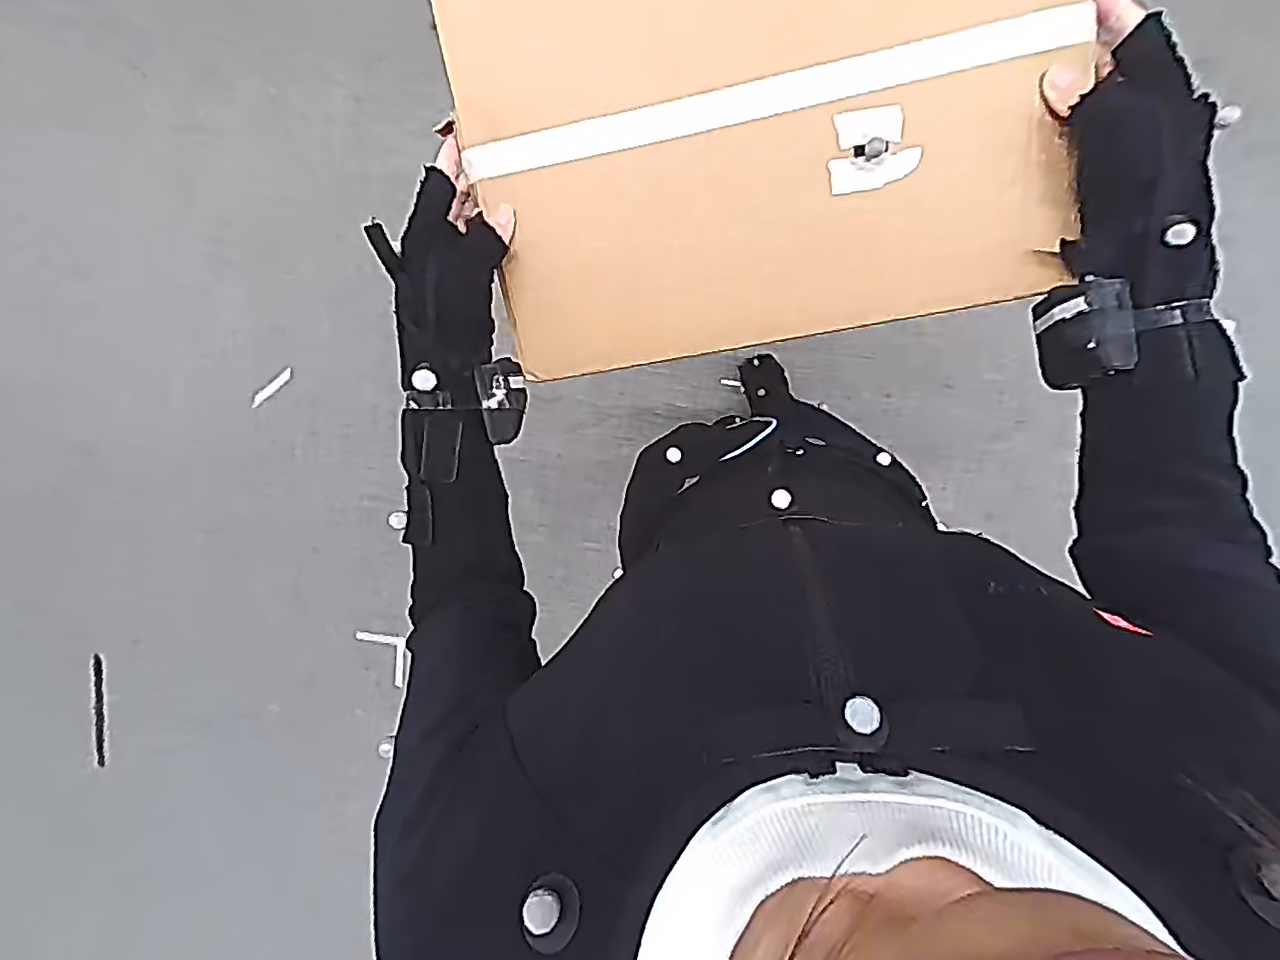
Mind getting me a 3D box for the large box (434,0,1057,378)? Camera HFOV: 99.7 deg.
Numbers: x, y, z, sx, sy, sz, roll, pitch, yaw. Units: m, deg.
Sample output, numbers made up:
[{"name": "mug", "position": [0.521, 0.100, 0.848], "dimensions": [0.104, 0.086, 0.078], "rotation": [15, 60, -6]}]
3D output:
[{"name": "large box", "position": [0.084, -0.303, 0.516], "dimensions": [0.408, 0.320, 0.320], "rotation": [-10, 107, 6]}]
